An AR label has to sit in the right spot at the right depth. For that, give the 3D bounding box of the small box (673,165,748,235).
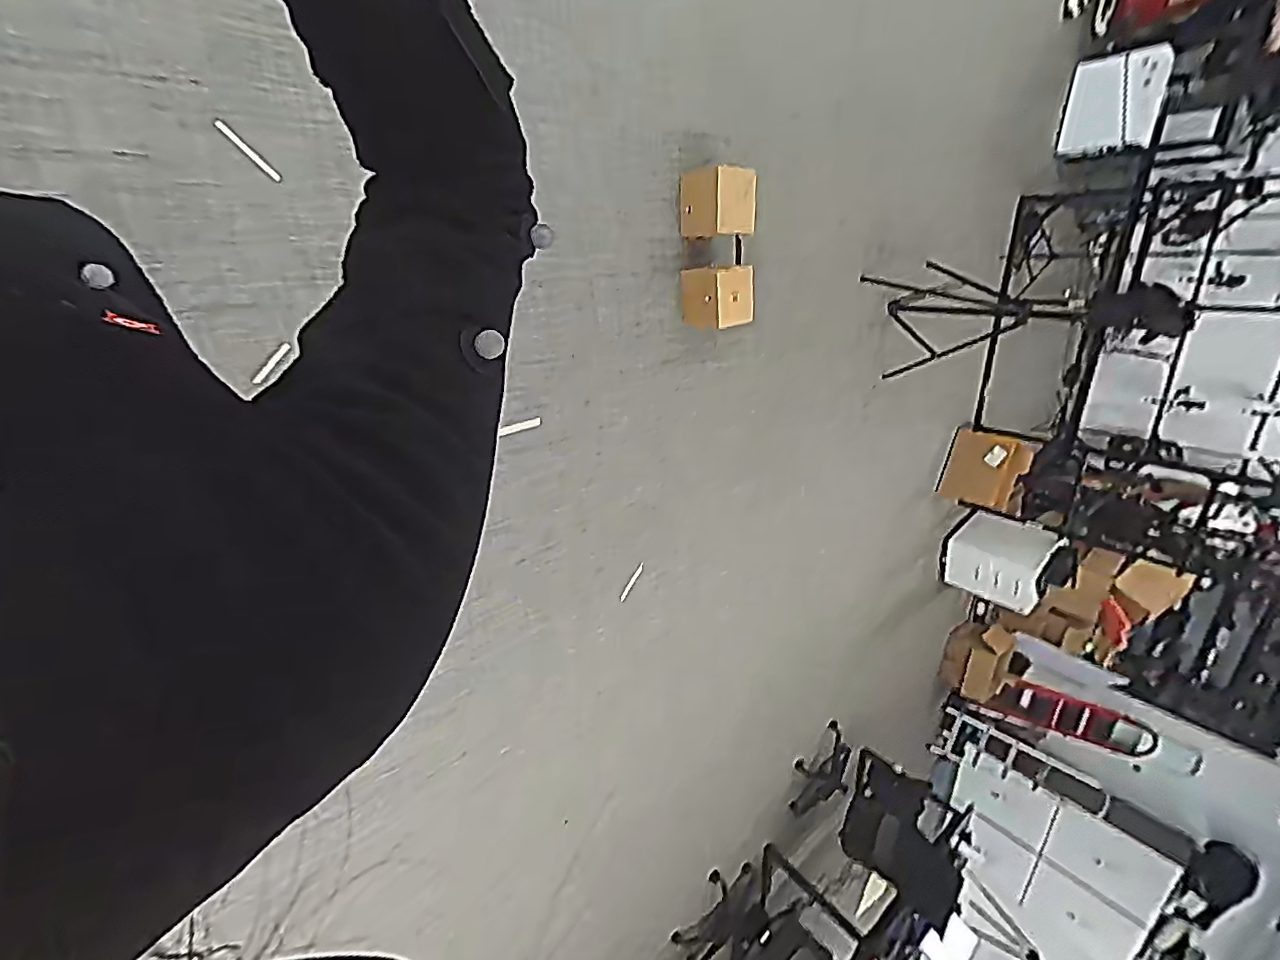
[{"bbox_3d":[0.219,-0.858,1.671,0.168,0.176,0.179,-19,118,-35],"label":"small box"}]

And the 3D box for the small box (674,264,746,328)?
[{"bbox_3d":[0.230,-0.612,1.781,0.168,0.176,0.179,-25,121,-33],"label":"small box"}]
